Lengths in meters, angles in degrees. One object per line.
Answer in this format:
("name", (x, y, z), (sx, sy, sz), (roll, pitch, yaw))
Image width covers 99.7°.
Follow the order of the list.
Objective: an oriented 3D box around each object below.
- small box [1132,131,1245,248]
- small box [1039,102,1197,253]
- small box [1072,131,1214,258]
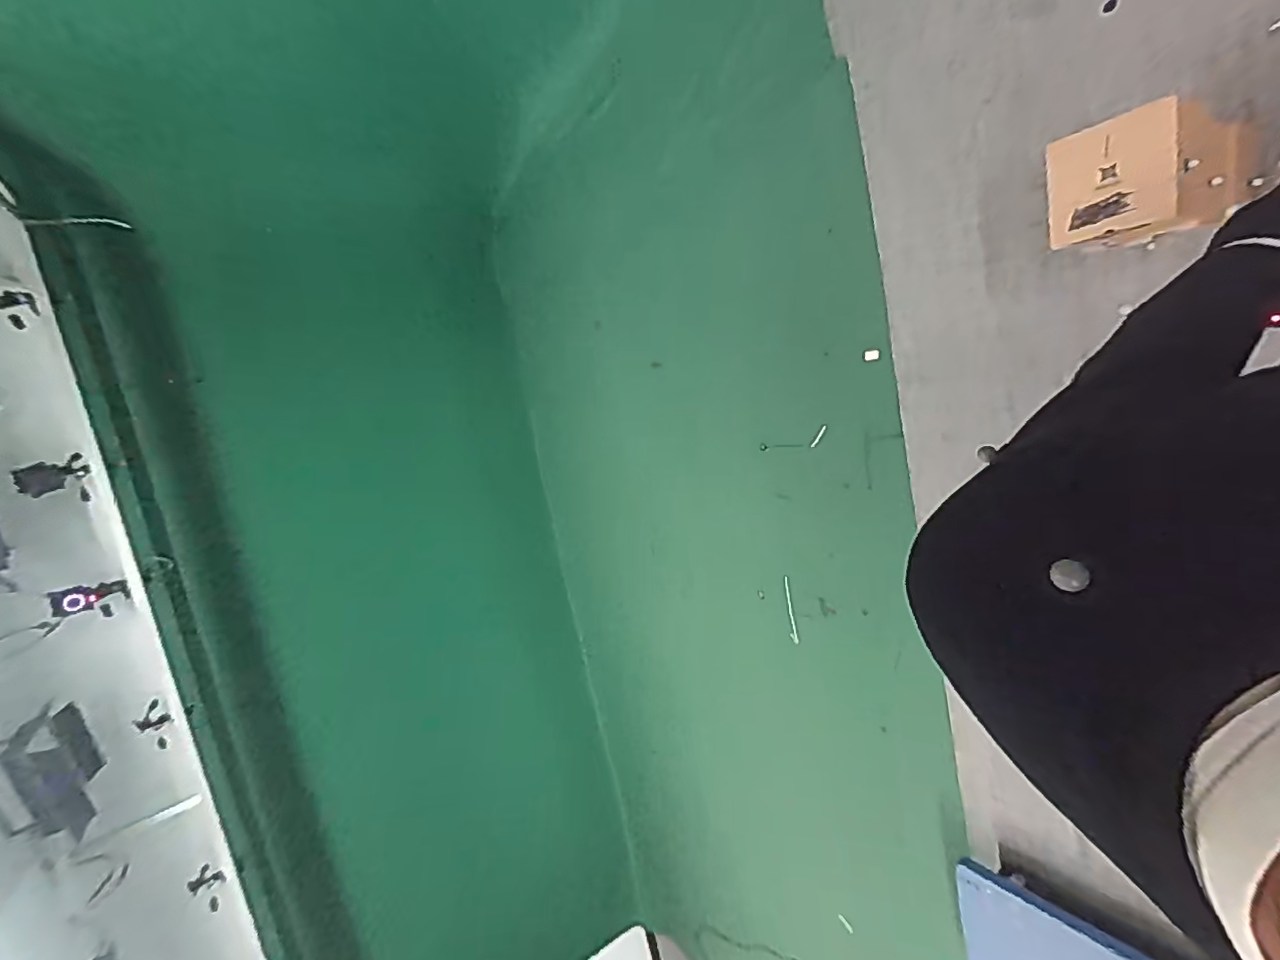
("small box", (1.078, -0.576, 1.099), (0.179, 0.176, 0.168), (8, 111, 55))
("small box", (0.813, -0.502, 0.921), (0.168, 0.176, 0.179), (5, 108, 56))
("small box", (0.943, -0.534, 1.017), (0.168, 0.176, 0.179), (7, 111, 56))
